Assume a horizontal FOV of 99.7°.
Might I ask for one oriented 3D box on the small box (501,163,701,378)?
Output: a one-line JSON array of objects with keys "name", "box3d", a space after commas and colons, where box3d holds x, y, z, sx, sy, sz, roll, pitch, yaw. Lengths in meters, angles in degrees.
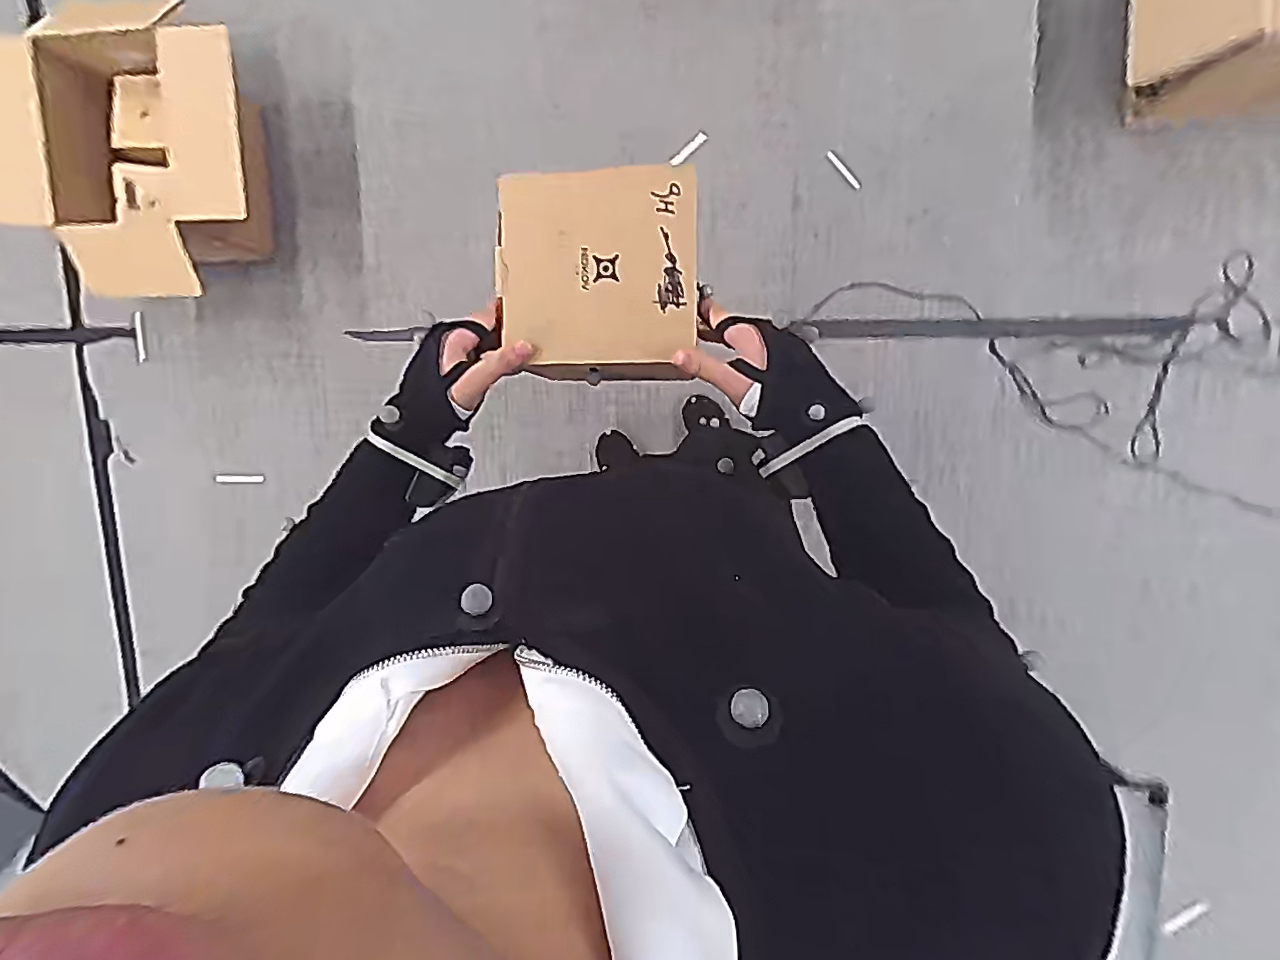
[{"name": "small box", "box3d": [-0.029, -0.196, 0.554, 0.179, 0.176, 0.168, 2, 95, 6]}]
